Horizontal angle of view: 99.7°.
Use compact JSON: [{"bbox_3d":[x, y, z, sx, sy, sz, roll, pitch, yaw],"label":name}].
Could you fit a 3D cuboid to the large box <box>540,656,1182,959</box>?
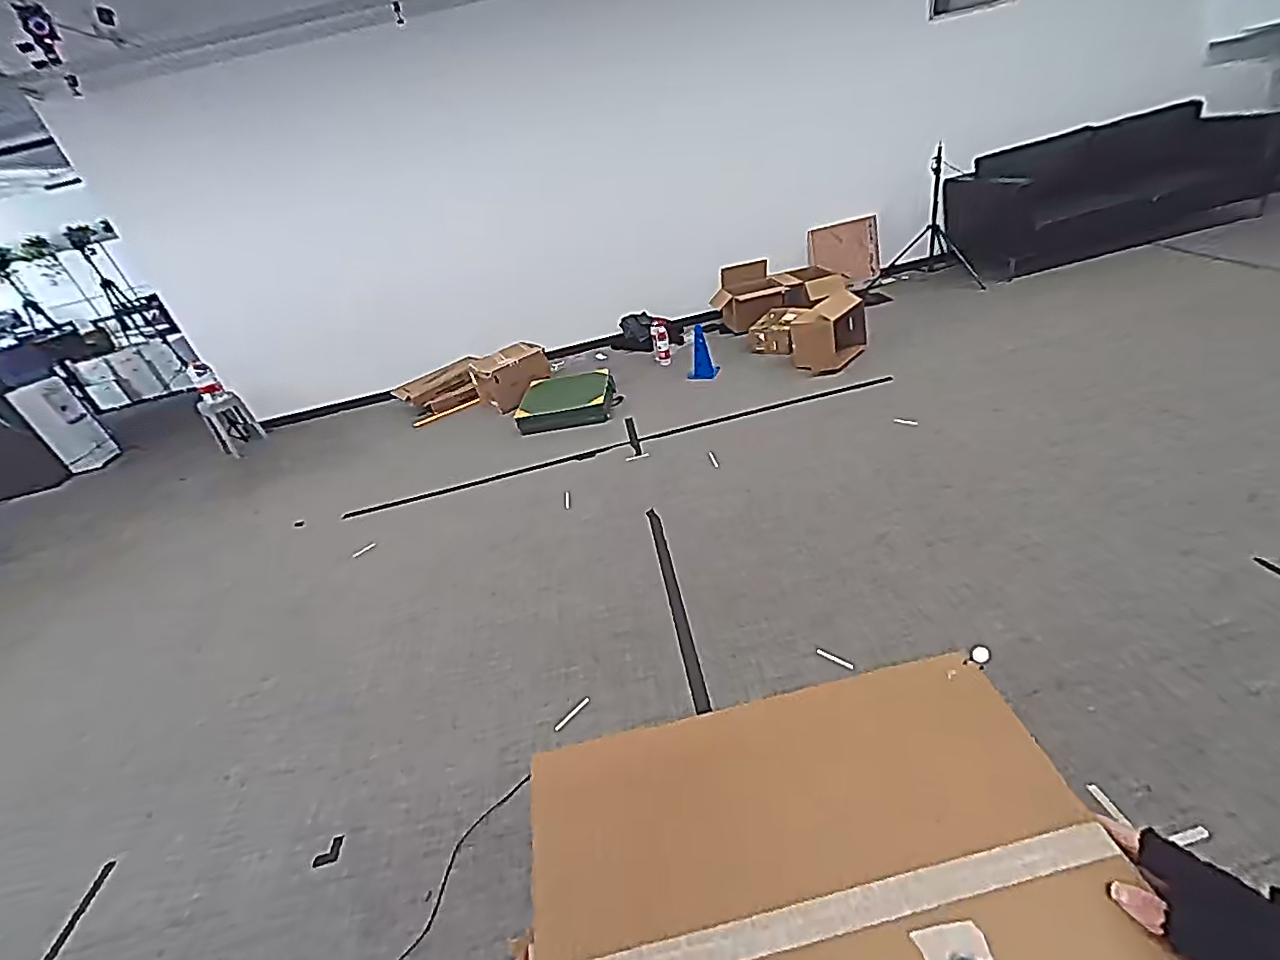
[{"bbox_3d":[0.150,0.415,0.470,0.408,0.320,0.320,-12,39,-4],"label":"large box"}]
